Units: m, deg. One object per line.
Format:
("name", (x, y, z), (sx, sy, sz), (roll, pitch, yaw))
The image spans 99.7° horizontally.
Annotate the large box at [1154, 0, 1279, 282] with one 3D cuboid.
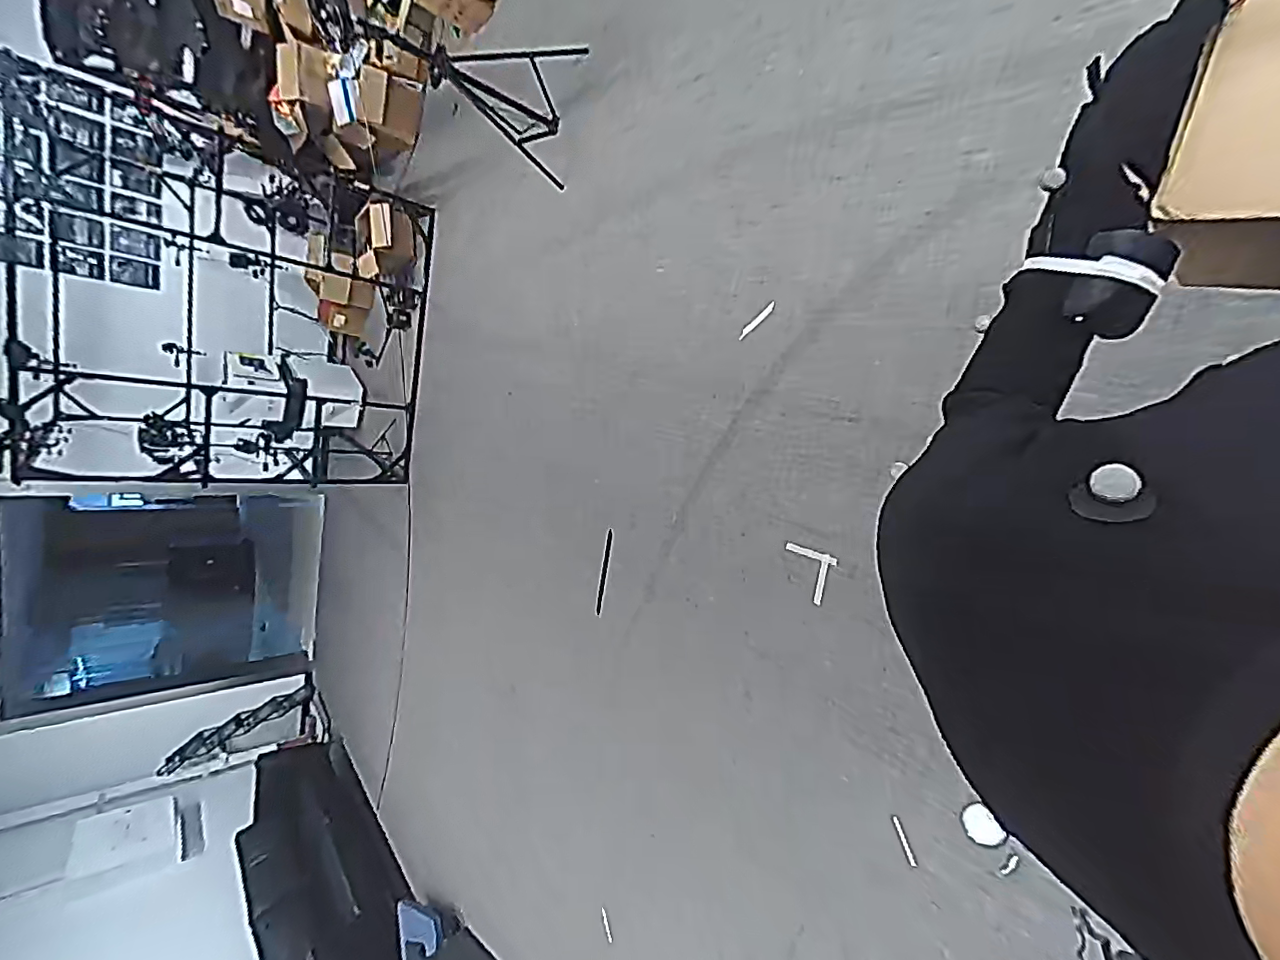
("large box", (0.638, -0.304, 0.329), (0.408, 0.320, 0.320), (23, 113, 43))
